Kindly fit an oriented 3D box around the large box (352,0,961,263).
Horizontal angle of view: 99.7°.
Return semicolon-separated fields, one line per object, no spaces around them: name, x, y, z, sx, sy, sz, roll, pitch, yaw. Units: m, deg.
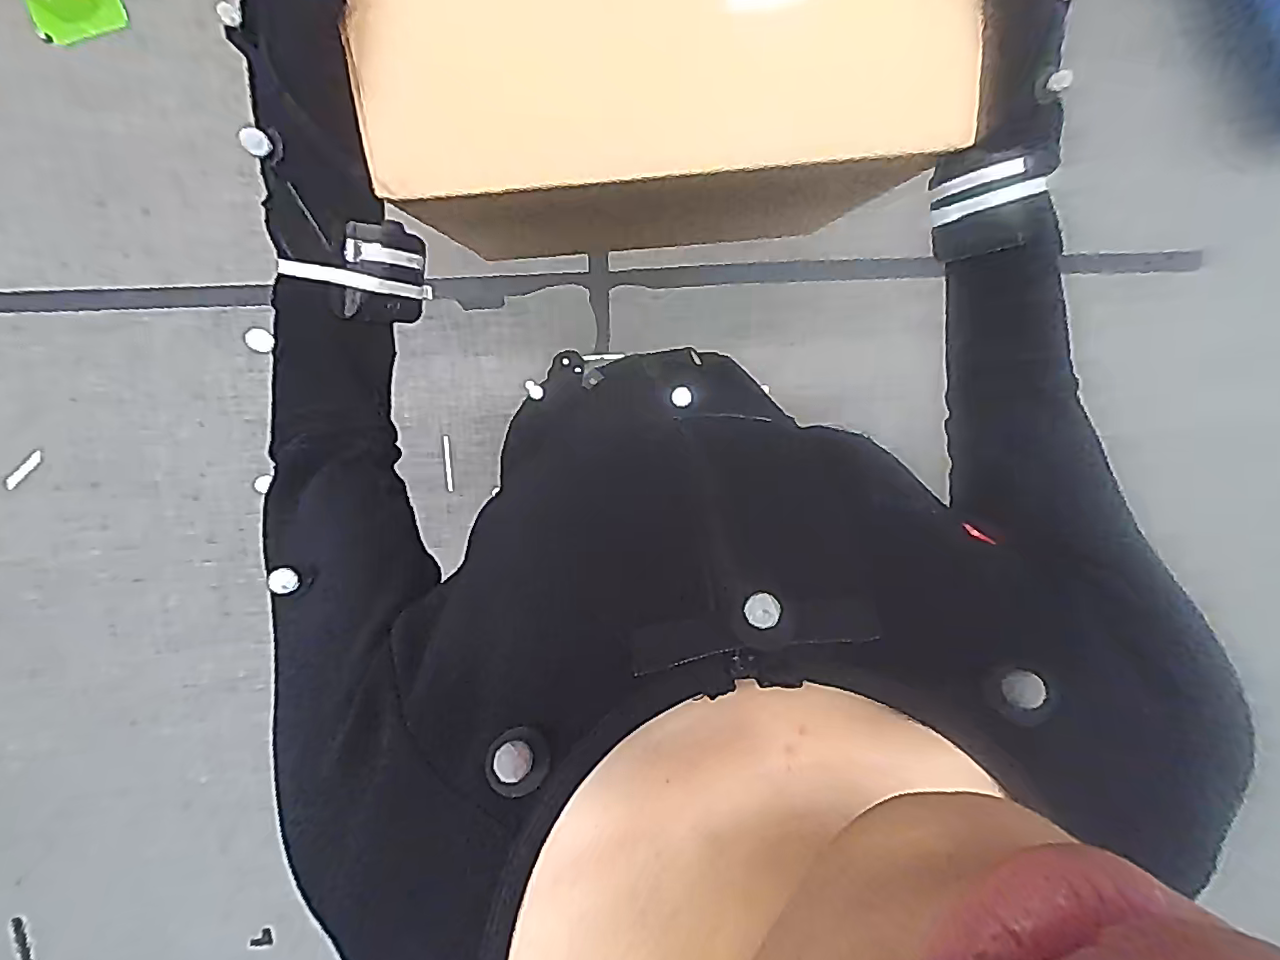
large box;0.001;-0.399;0.483;0.408;0.320;0.320;-6;104;-1
